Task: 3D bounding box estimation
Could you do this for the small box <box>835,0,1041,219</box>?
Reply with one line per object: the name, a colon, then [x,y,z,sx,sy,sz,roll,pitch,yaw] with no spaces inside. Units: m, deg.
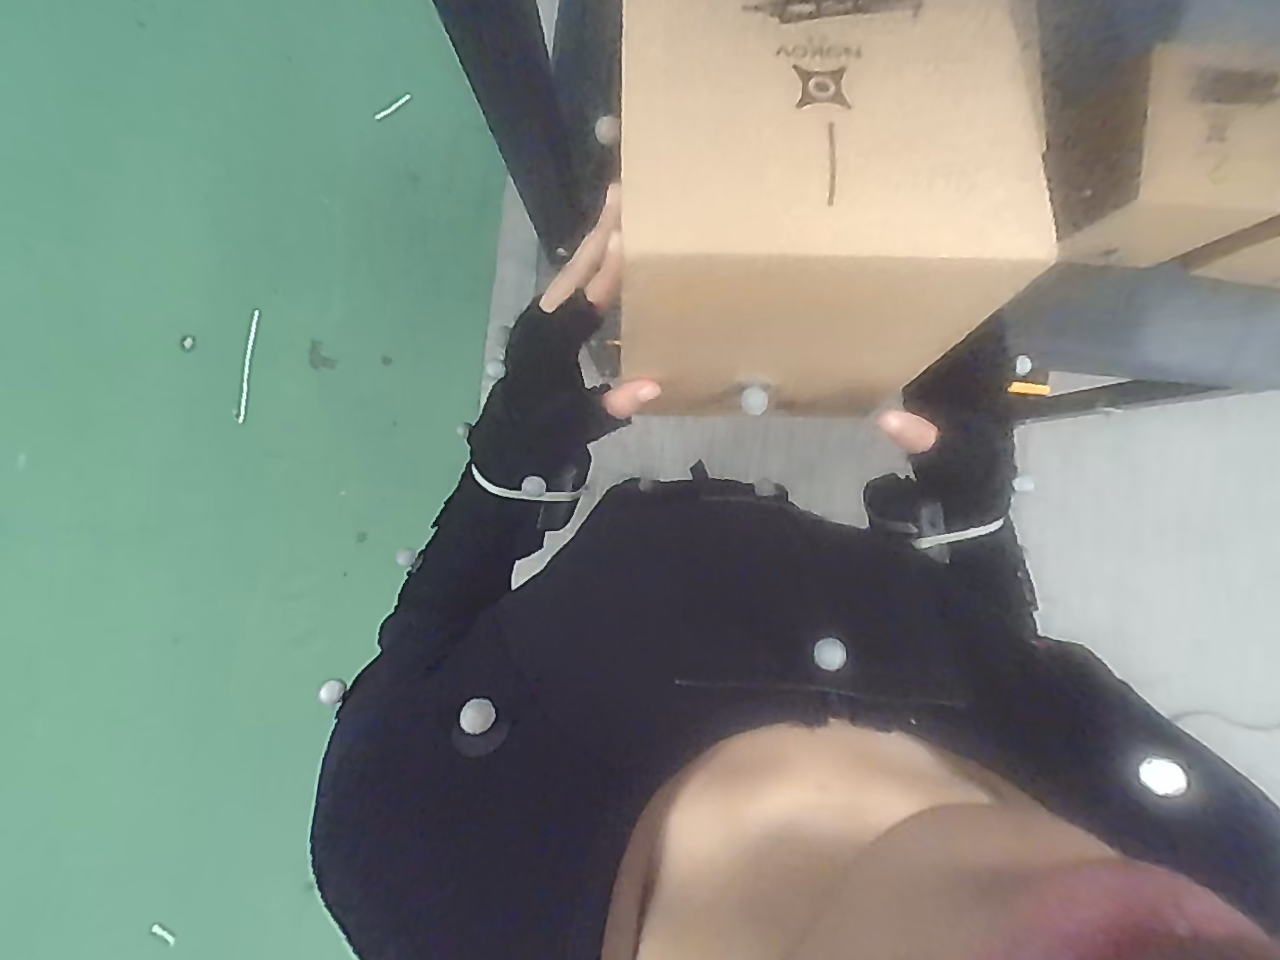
small box: [0.354,-0.445,0.672,0.168,0.176,0.179,-4,90,0]
